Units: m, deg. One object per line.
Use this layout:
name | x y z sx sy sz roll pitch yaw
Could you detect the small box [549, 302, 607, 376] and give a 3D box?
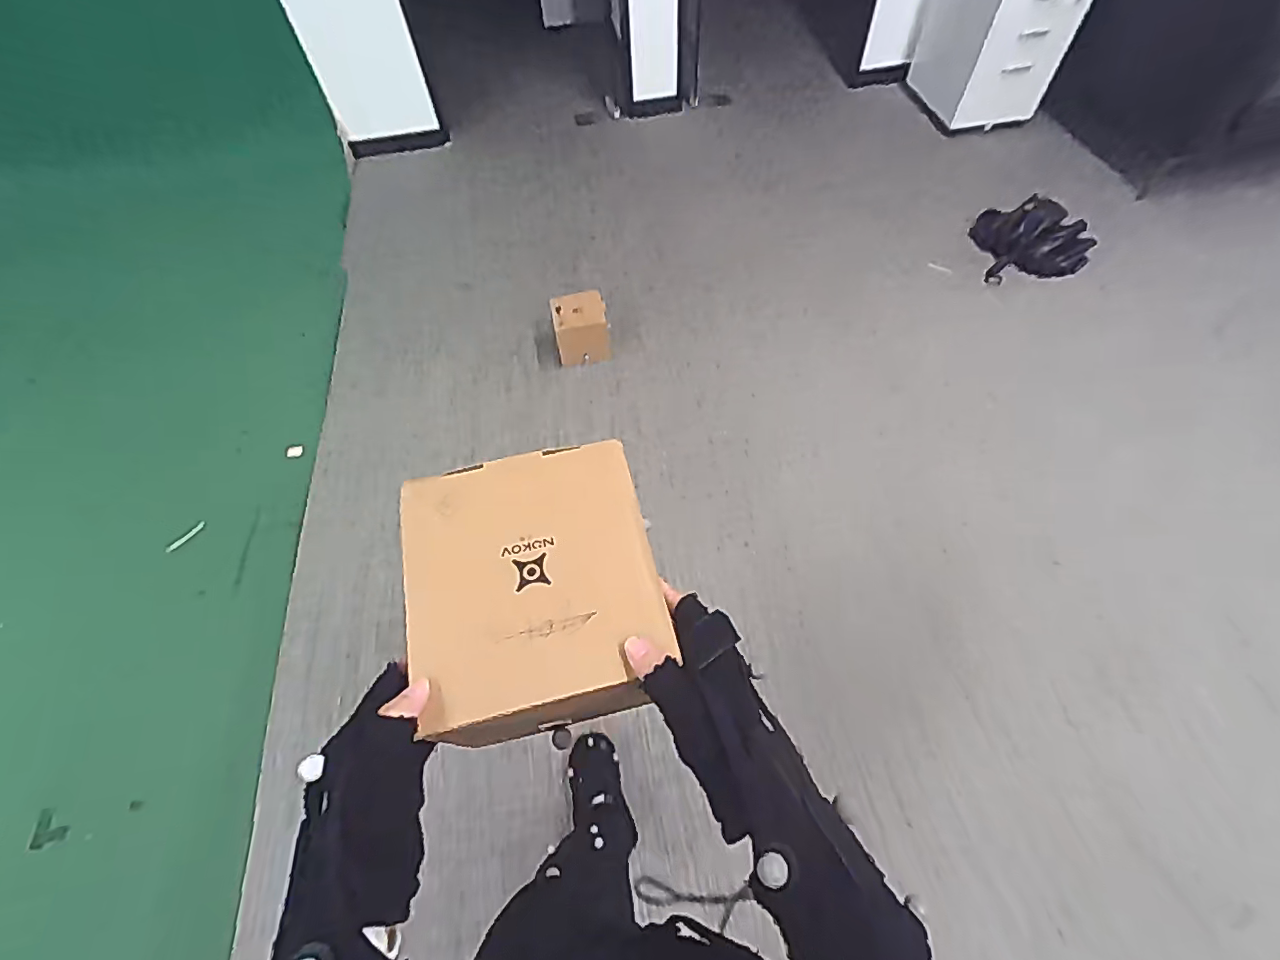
small box | -0.210 -0.487 1.877 0.179 0.176 0.168 -11 57 -4
